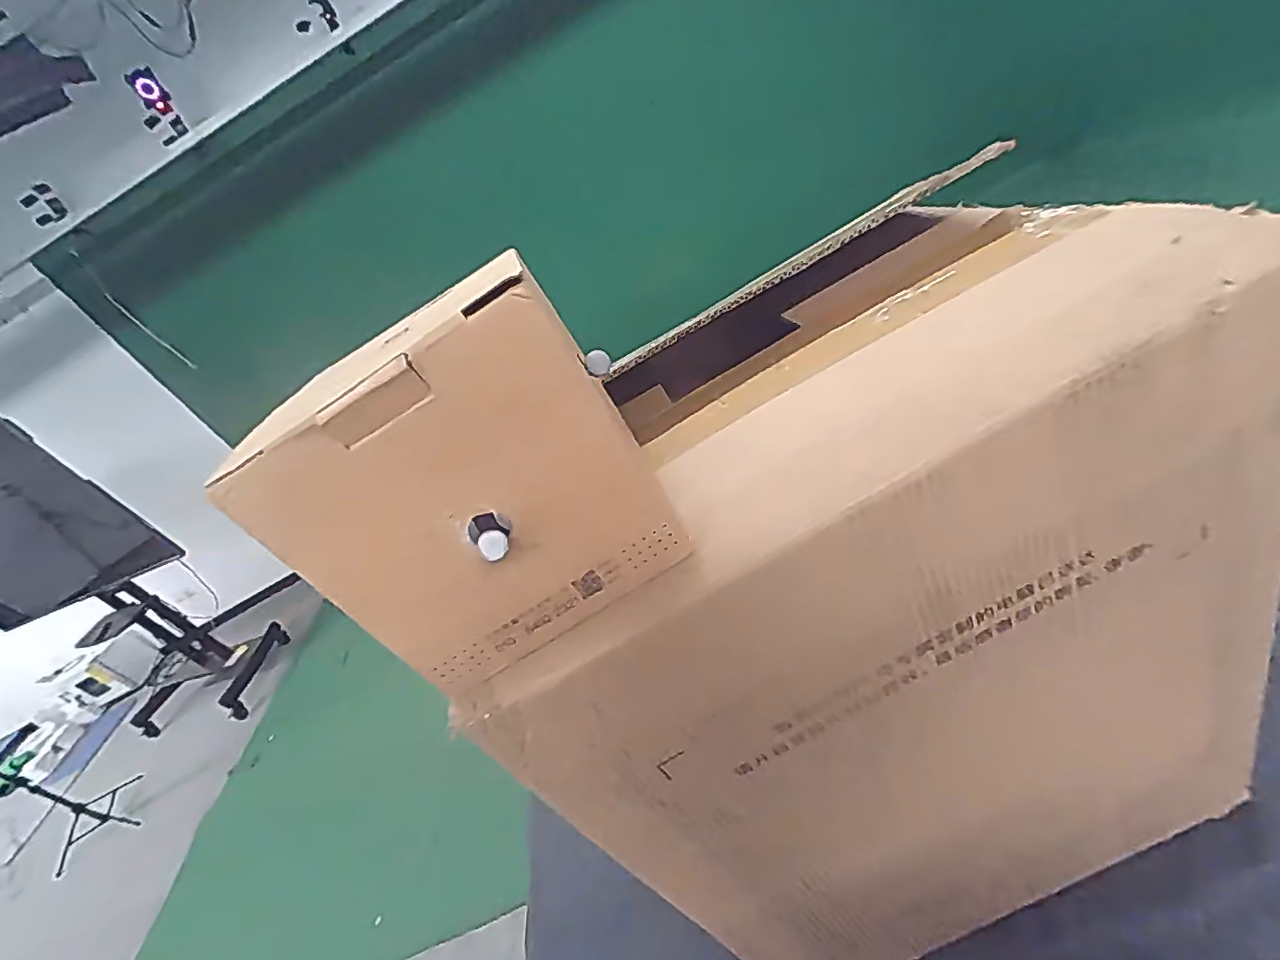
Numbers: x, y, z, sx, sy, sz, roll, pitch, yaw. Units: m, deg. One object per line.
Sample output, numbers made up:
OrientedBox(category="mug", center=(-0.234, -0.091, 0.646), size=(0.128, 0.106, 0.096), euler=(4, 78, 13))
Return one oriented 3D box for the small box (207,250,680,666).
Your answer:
OrientedBox(category="small box", center=(-0.096, -0.014, 0.336), size=(0.168, 0.176, 0.179), euler=(-32, 30, 2))
